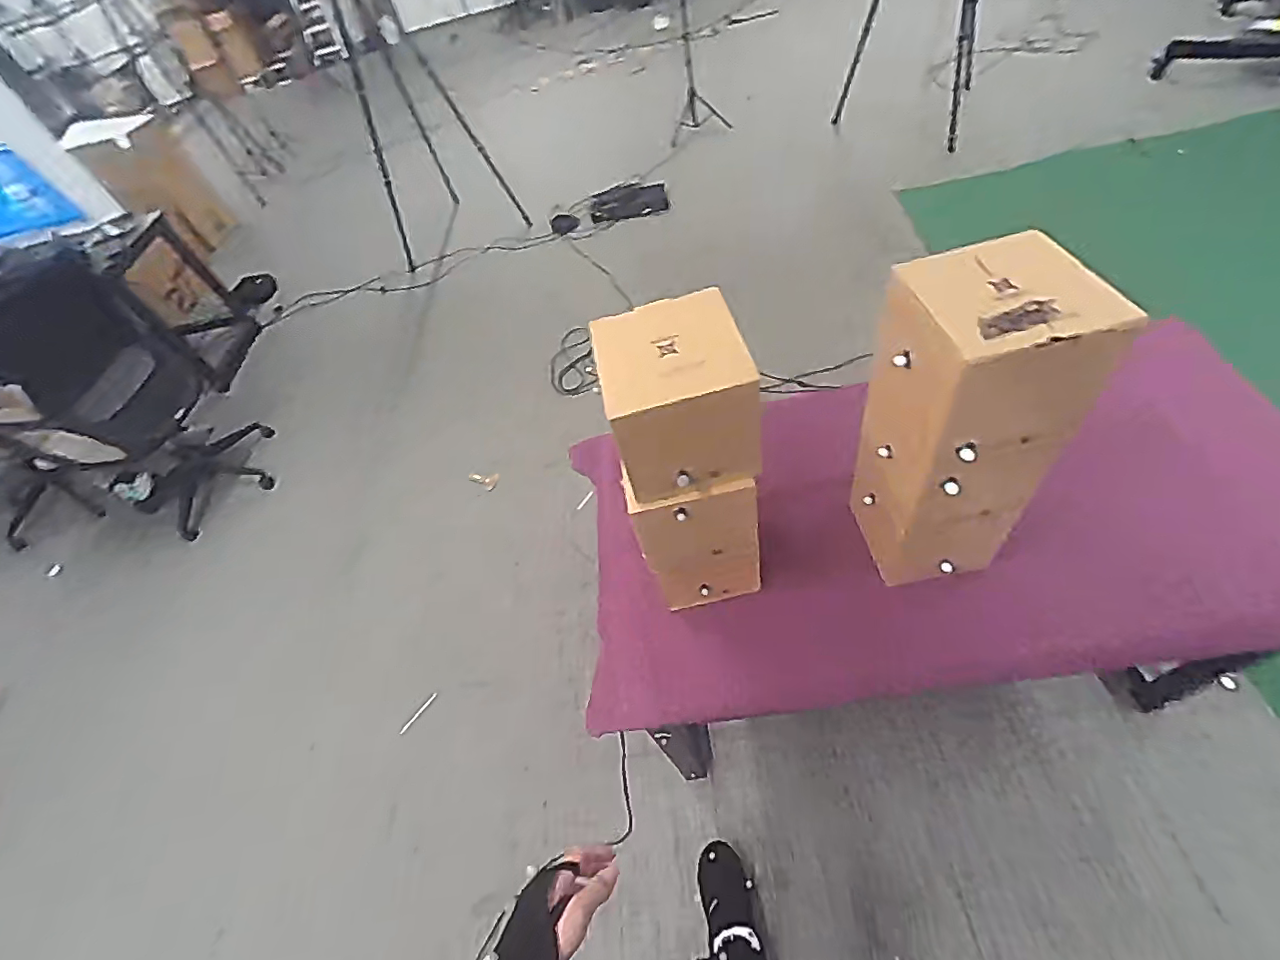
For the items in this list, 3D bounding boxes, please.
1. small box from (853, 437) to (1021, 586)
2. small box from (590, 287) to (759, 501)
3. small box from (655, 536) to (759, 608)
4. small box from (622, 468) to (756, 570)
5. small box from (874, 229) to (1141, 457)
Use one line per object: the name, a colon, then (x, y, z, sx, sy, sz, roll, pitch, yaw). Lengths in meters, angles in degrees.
small box: (0.456, 0.046, 0.869, 0.168, 0.176, 0.179, -12, 51, 6)
small box: (0.043, -0.102, 0.668, 0.168, 0.176, 0.179, -14, 52, 3)
small box: (0.100, 0.093, 0.925, 0.168, 0.176, 0.179, -14, 52, 3)
small box: (0.069, 0.006, 0.789, 0.168, 0.176, 0.179, -13, 51, 5)
small box: (0.385, -0.144, 0.610, 0.168, 0.176, 0.179, -12, 50, 4)
